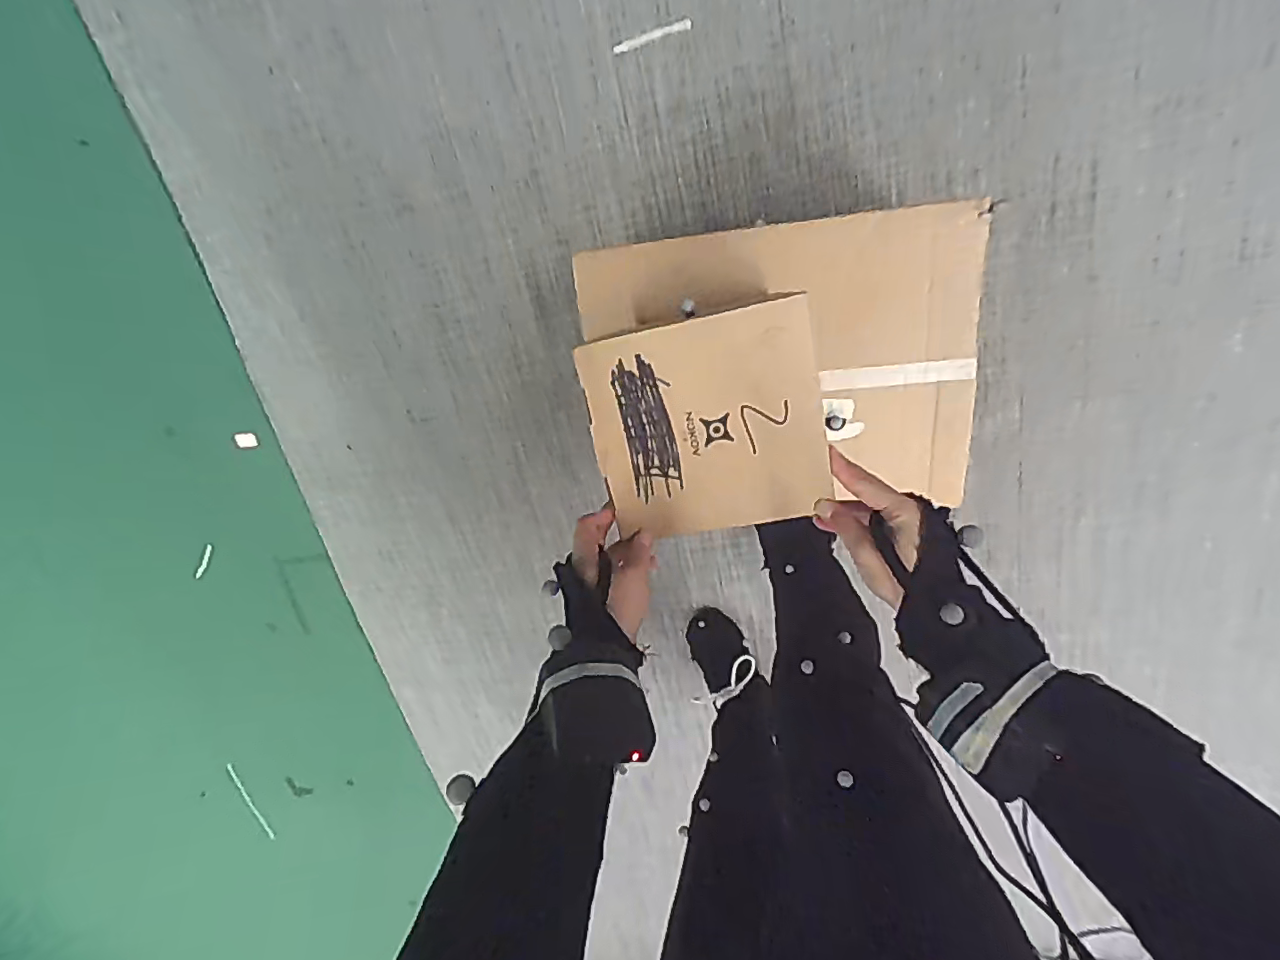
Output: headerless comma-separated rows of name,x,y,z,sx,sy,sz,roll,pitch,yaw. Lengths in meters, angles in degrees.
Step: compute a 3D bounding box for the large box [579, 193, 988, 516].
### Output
large box,0.168,-0.162,0.722,0.408,0.320,0.320,-3,111,11
